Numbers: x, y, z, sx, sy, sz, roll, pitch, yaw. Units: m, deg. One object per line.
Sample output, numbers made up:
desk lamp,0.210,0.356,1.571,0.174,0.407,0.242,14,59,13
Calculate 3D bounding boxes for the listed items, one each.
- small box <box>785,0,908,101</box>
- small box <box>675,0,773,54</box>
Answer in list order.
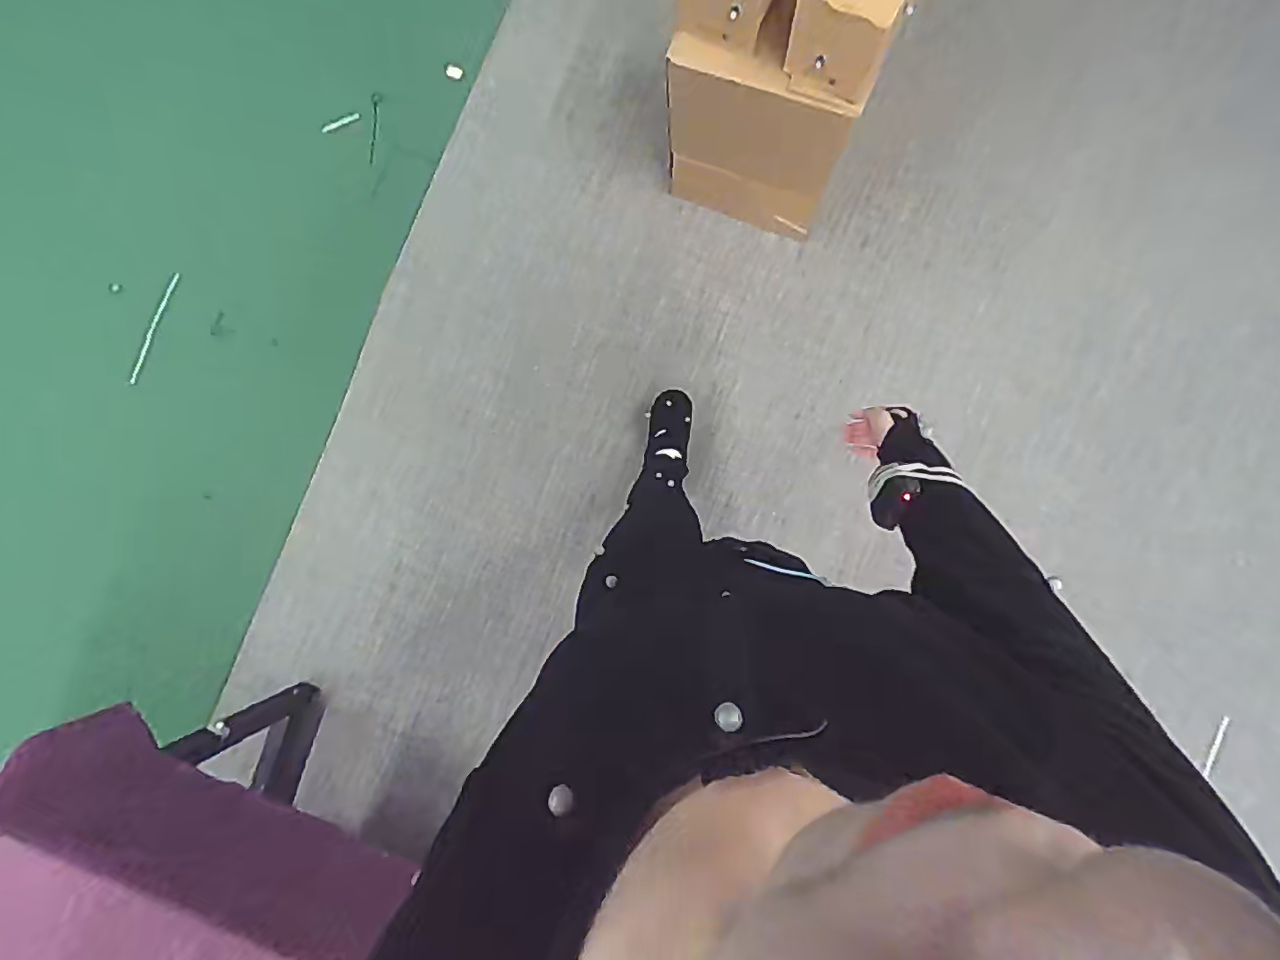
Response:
small box,0.380,-0.849,0.978,0.168,0.176,0.179,28,90,7
small box,0.169,-0.950,1.001,0.168,0.176,0.179,23,90,3
